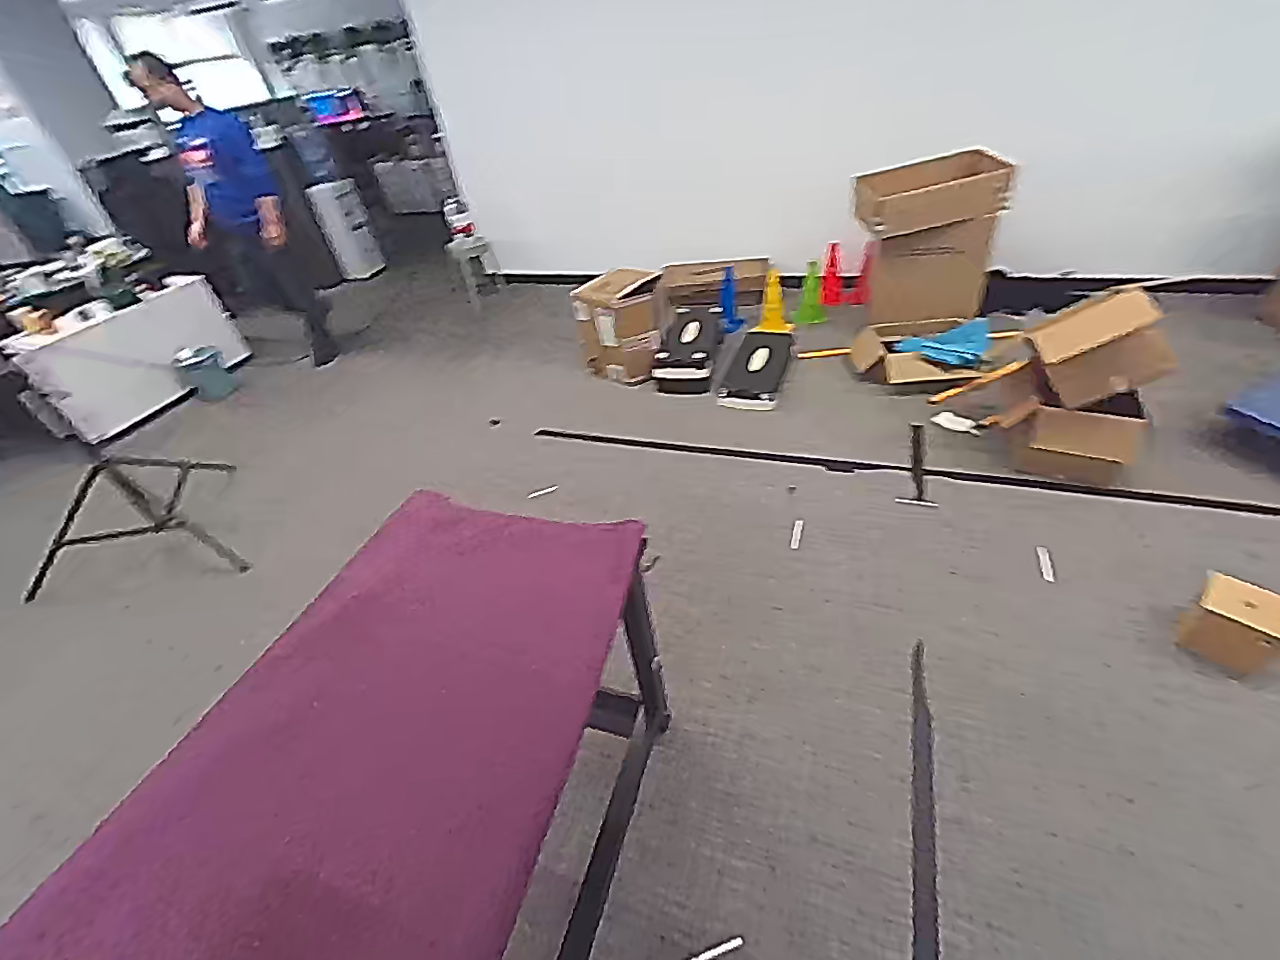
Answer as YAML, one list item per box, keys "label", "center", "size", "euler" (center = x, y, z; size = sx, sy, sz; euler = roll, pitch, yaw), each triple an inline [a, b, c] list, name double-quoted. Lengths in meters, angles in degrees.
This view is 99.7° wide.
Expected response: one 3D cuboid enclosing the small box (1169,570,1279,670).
- label: "small box"
  center: [1.627, 0.390, 1.500]
  size: [0.179, 0.176, 0.168]
  euler: [28, 51, 35]
